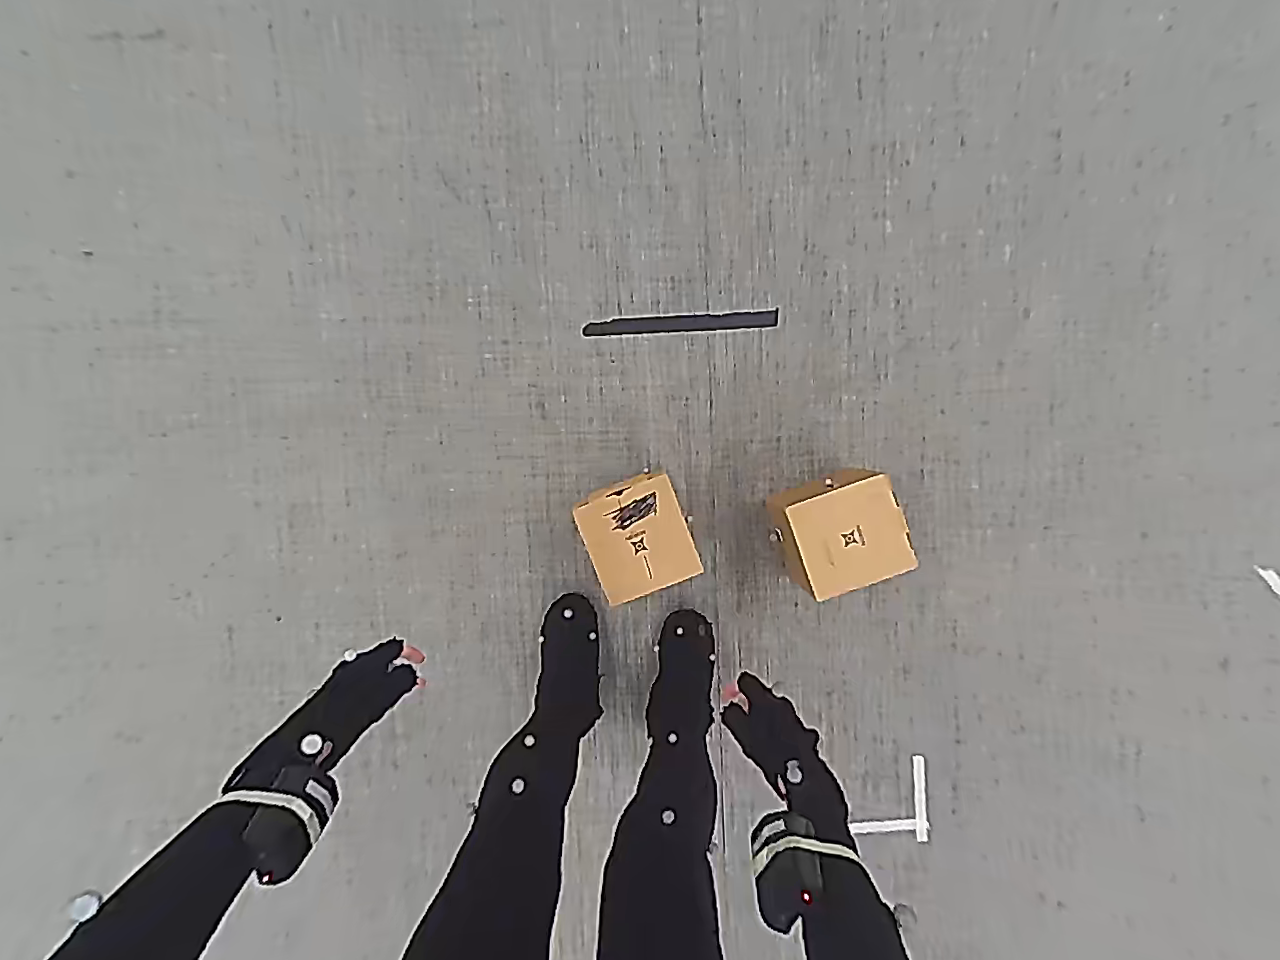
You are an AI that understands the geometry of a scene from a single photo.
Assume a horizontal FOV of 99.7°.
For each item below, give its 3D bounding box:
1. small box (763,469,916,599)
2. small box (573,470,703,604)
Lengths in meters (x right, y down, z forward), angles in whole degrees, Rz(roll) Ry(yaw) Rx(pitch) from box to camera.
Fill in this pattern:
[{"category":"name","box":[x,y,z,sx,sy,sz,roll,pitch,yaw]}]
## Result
[{"category":"small box","box":[0.336,0.083,0.943,0.179,0.176,0.168,-21,92,2]},{"category":"small box","box":[-0.004,0.090,0.945,0.168,0.176,0.179,-22,93,2]}]
